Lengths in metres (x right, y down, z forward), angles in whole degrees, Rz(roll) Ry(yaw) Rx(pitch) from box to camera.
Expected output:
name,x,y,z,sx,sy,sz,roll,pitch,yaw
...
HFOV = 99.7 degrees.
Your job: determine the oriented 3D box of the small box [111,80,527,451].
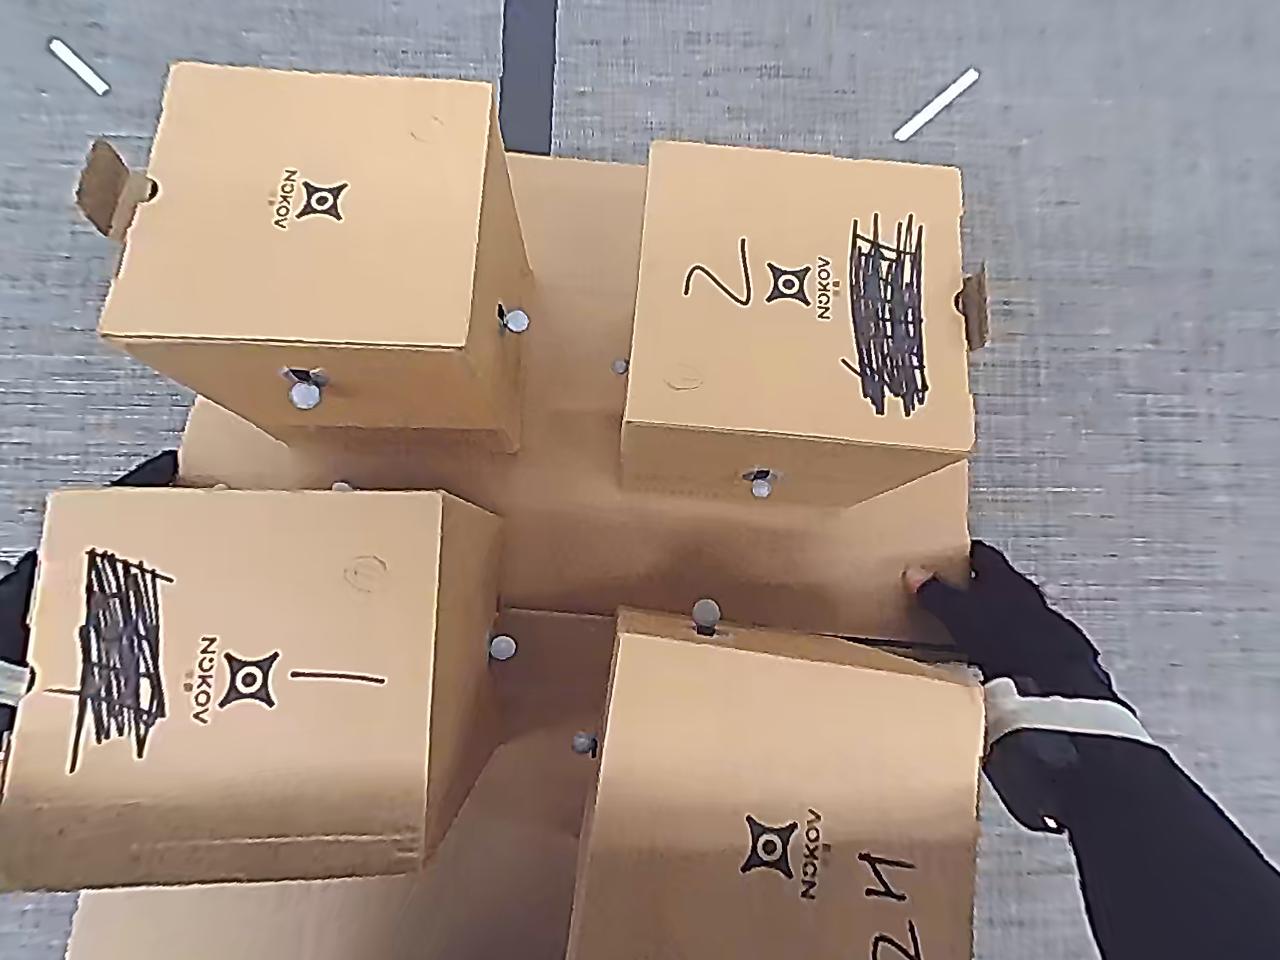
name,x,y,z,sx,sy,sz,roll,pitch,yaw
small box,-0.177,-0.122,0.365,0.179,0.176,0.168,1,76,-2
